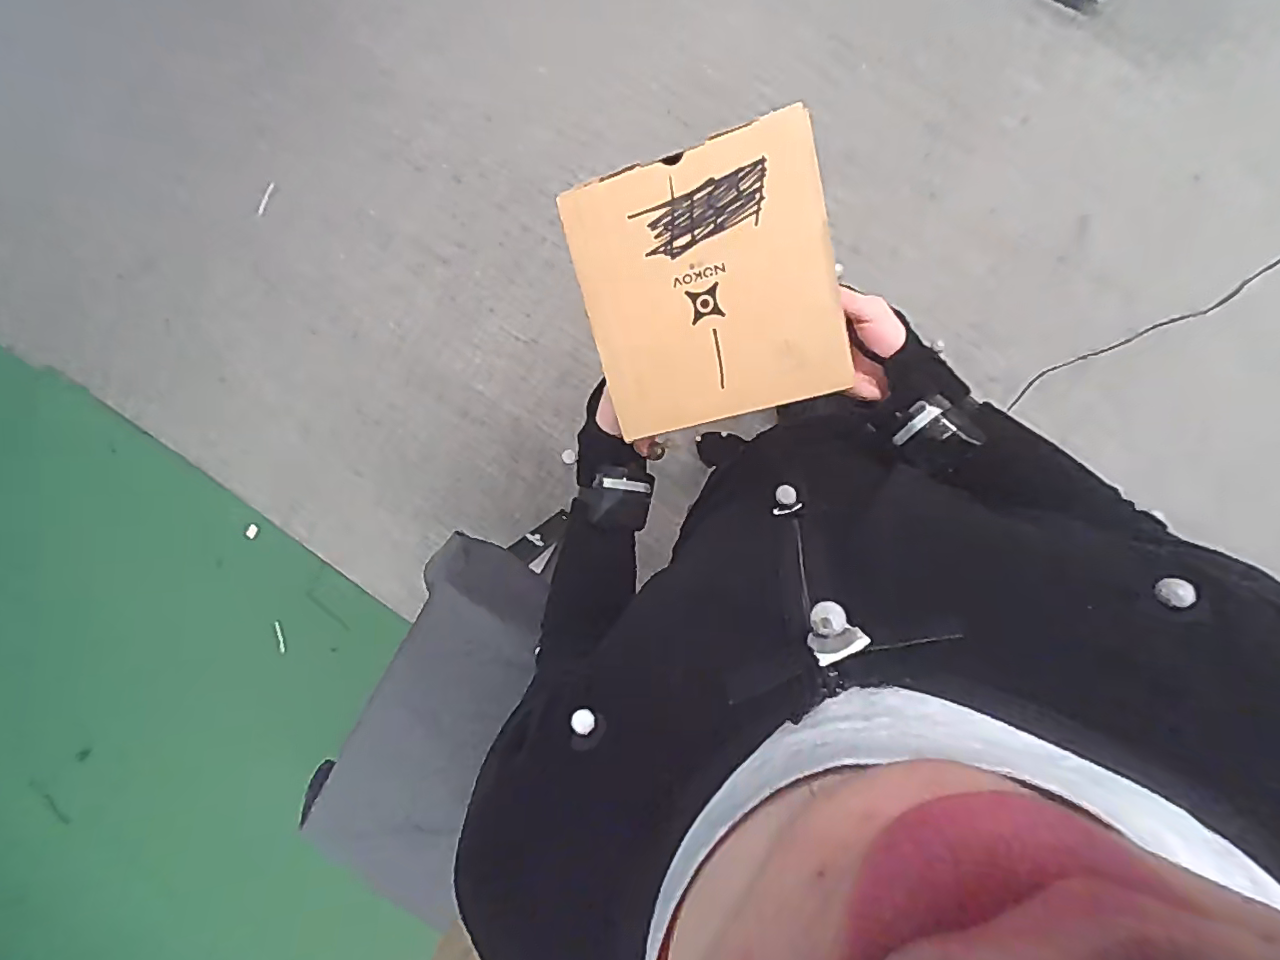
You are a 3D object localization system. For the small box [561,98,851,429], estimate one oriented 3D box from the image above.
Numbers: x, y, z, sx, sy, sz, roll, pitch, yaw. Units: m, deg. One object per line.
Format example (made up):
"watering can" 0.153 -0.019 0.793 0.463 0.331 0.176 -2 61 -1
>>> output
"small box" 0.059 -0.154 0.436 0.168 0.176 0.179 -12 103 16
